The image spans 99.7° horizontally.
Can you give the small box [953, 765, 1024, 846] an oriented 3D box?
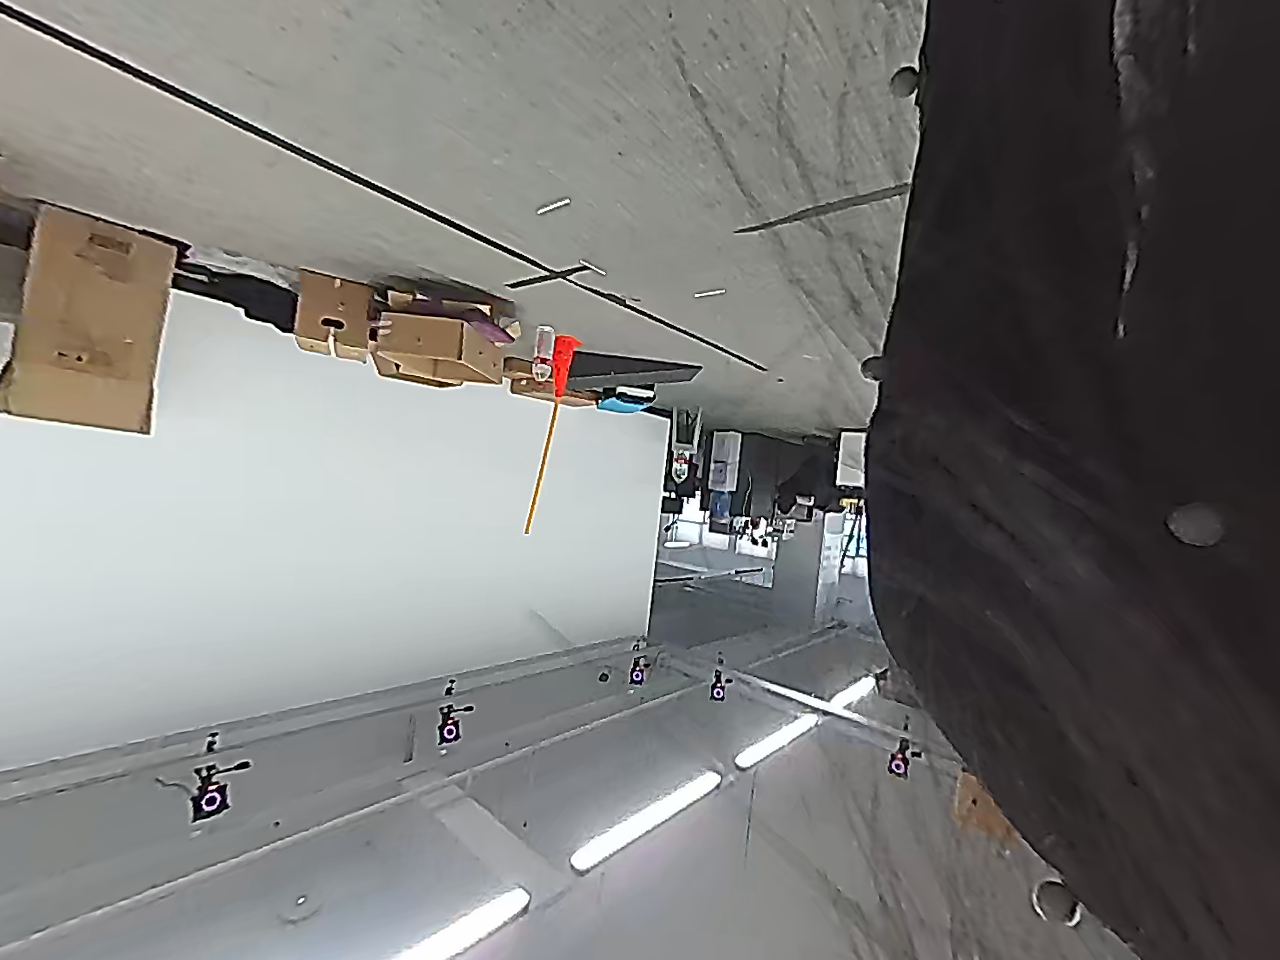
[{"bbox_3d":[1.140,1.040,1.769,0.168,0.176,0.179,7,-178,43],"label":"small box"}]
